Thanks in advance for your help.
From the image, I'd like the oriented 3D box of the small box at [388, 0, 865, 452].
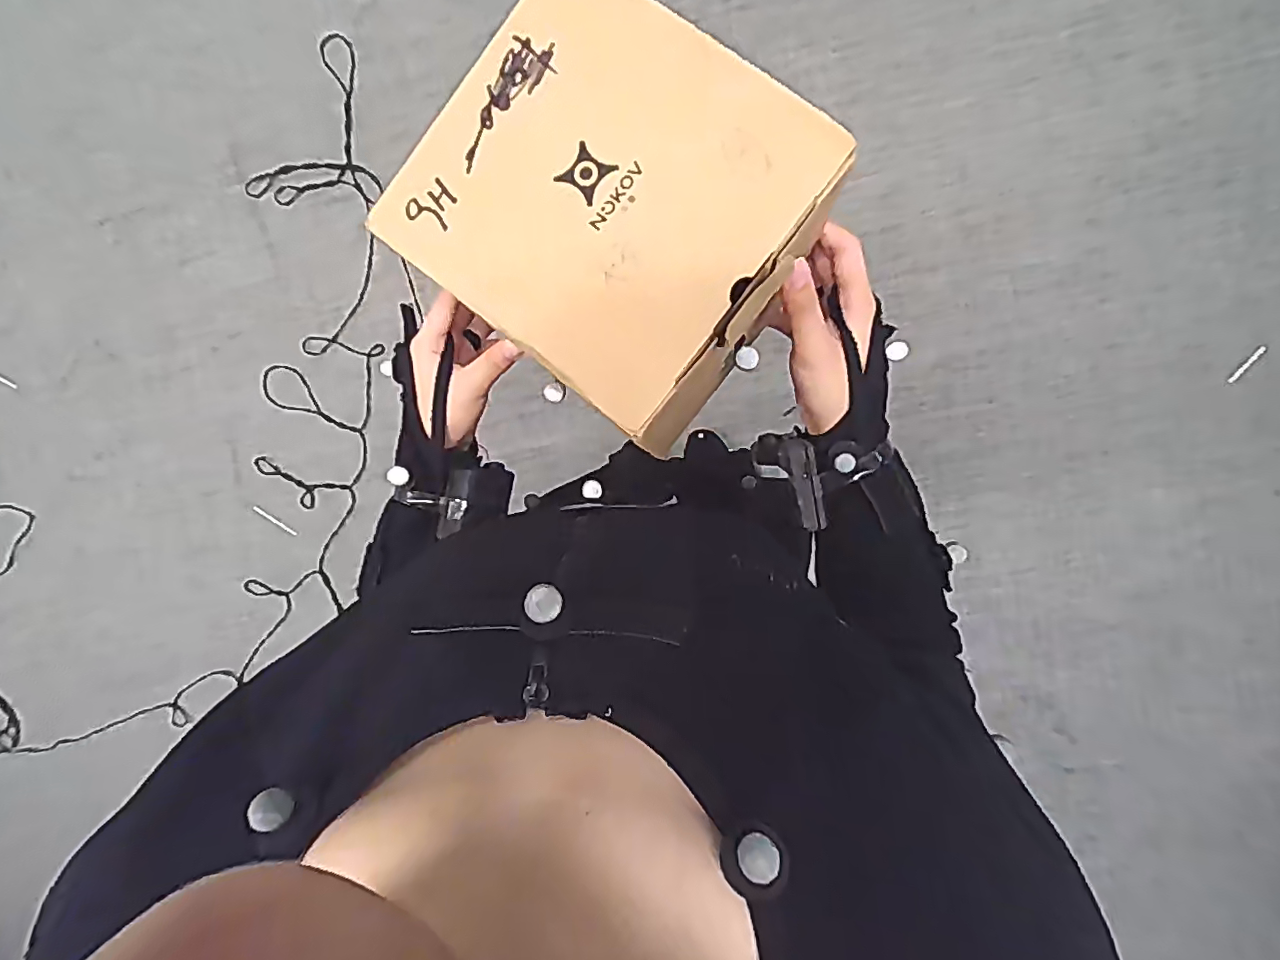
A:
[{"bbox_3d":[-0.003,-0.132,0.339,0.179,0.176,0.168,40,93,5],"label":"small box"}]
